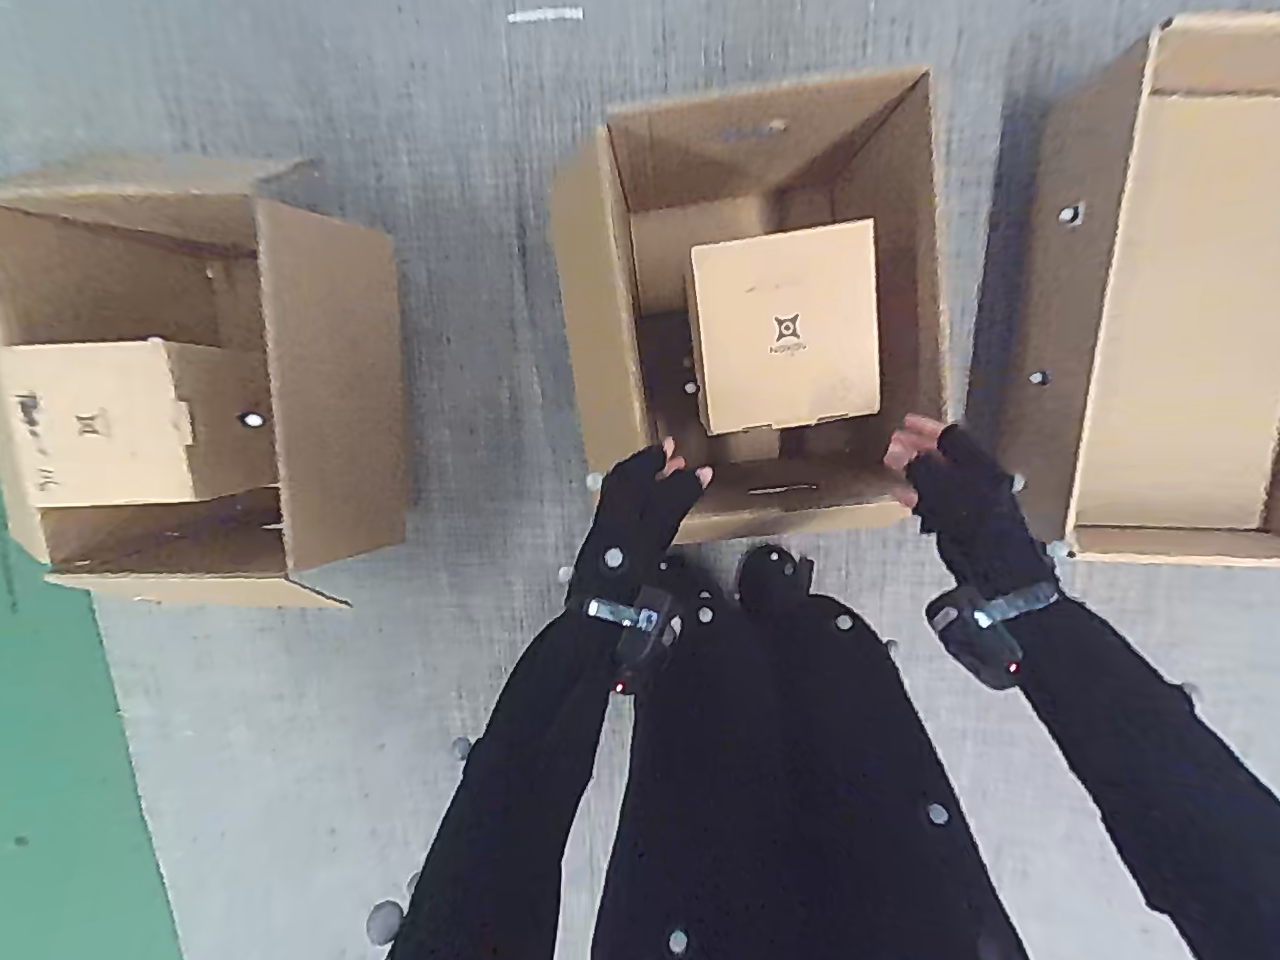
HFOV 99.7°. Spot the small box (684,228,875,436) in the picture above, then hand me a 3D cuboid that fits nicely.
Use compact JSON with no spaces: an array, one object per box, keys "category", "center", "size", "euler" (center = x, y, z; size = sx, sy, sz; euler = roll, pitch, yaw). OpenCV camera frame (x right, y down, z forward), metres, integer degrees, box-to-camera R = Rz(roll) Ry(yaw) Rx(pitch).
[{"category":"small box","center":[0.141,-0.153,0.588],"size":[0.168,0.176,0.179],"euler":[-7,102,3]}]
